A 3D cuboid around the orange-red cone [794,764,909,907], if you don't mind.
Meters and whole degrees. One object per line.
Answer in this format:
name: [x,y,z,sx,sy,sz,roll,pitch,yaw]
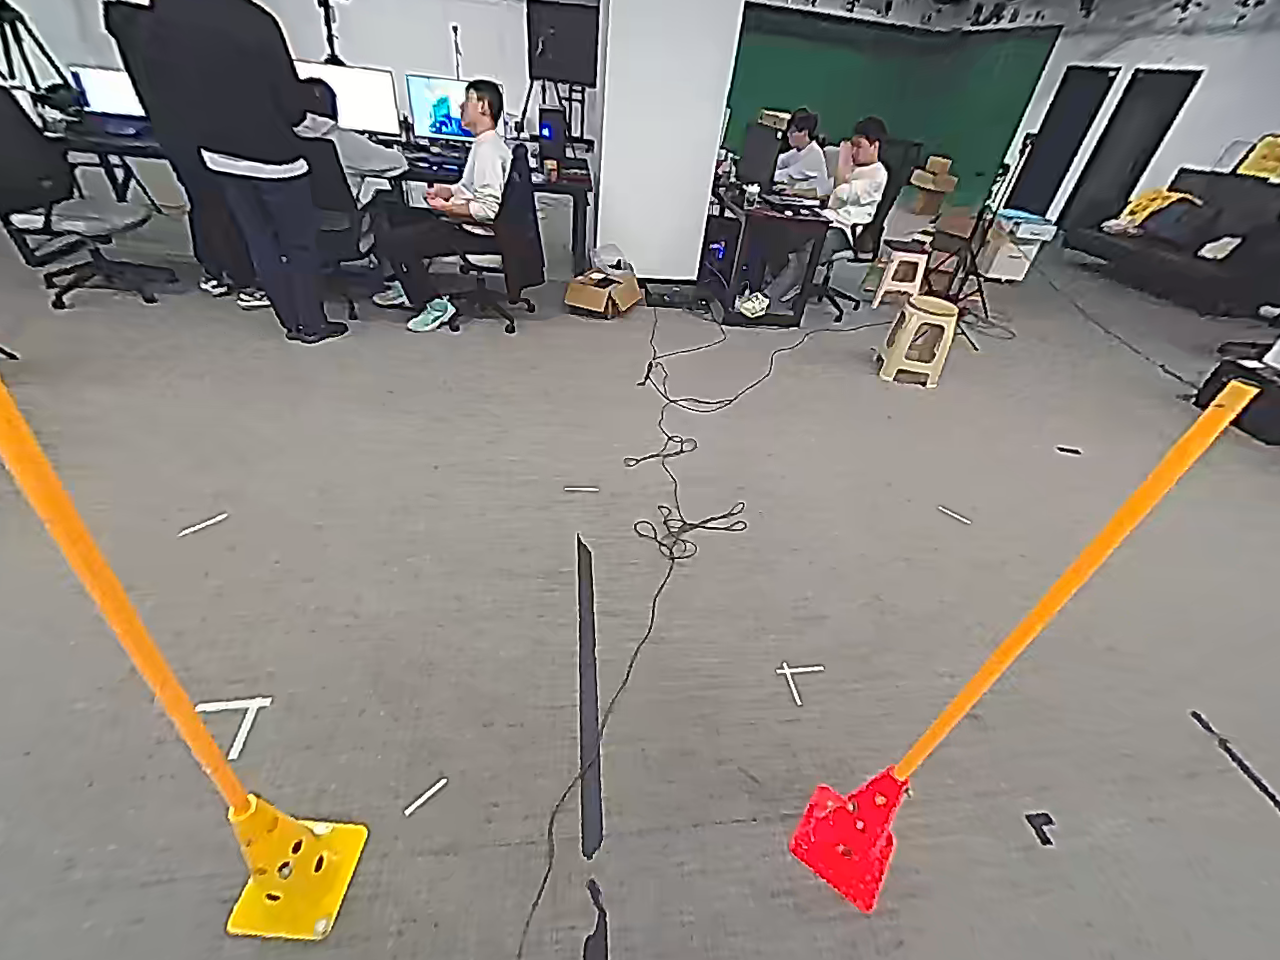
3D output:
orange-red cone: [0.496,0.712,1.160,0.198,0.360,0.199,29,44,28]
